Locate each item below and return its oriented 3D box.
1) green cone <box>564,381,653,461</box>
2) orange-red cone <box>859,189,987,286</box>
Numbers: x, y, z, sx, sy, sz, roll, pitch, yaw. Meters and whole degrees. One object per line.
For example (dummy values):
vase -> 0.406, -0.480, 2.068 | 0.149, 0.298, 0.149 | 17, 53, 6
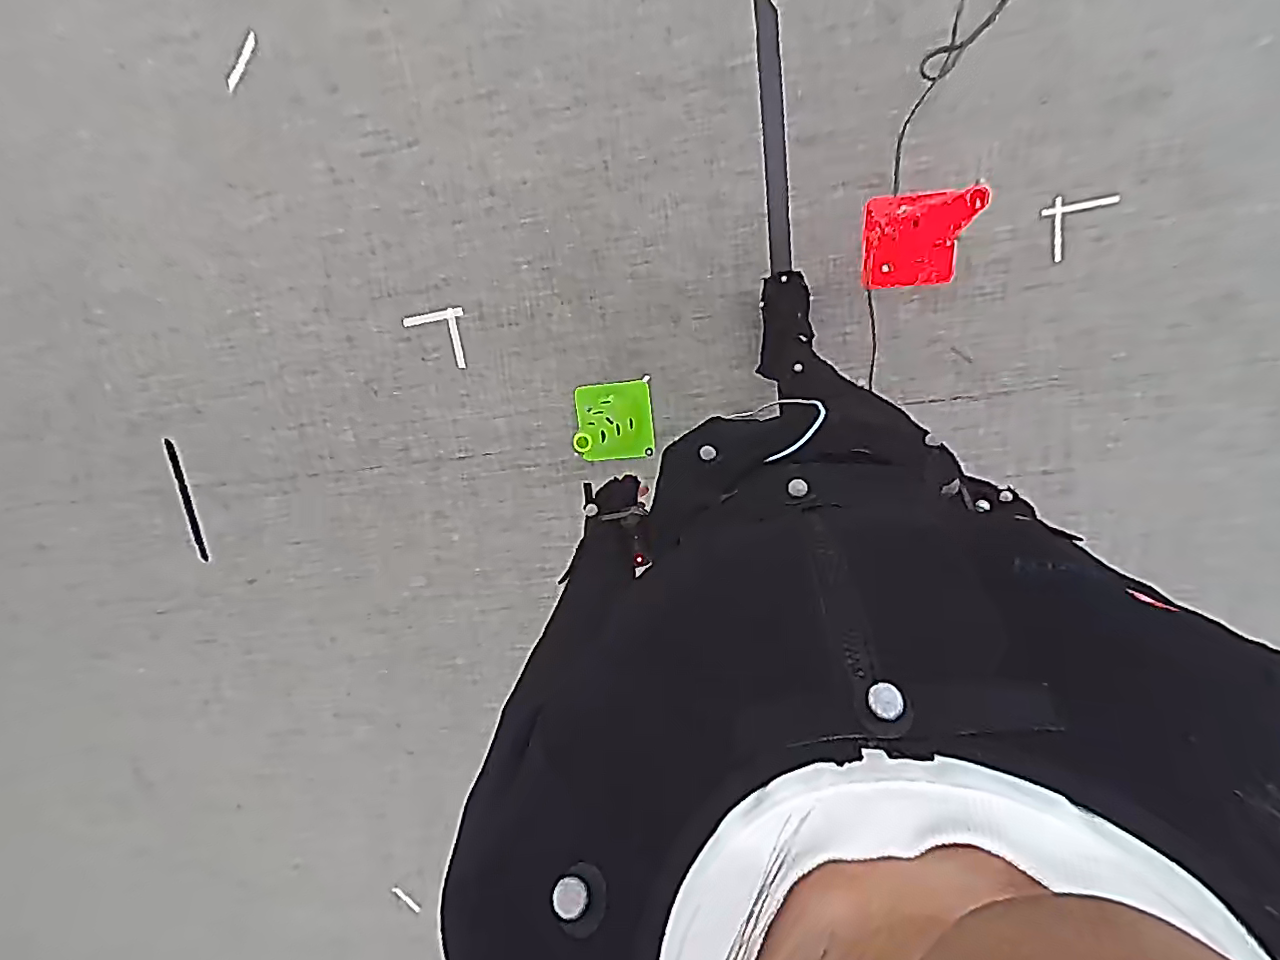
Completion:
green cone -> -0.100, -0.119, 1.258 | 0.202, 0.368, 0.200 | -5, 101, 11
orange-red cone -> 0.590, -0.511, 1.075 | 0.199, 0.360, 0.198 | -1, 103, 7
